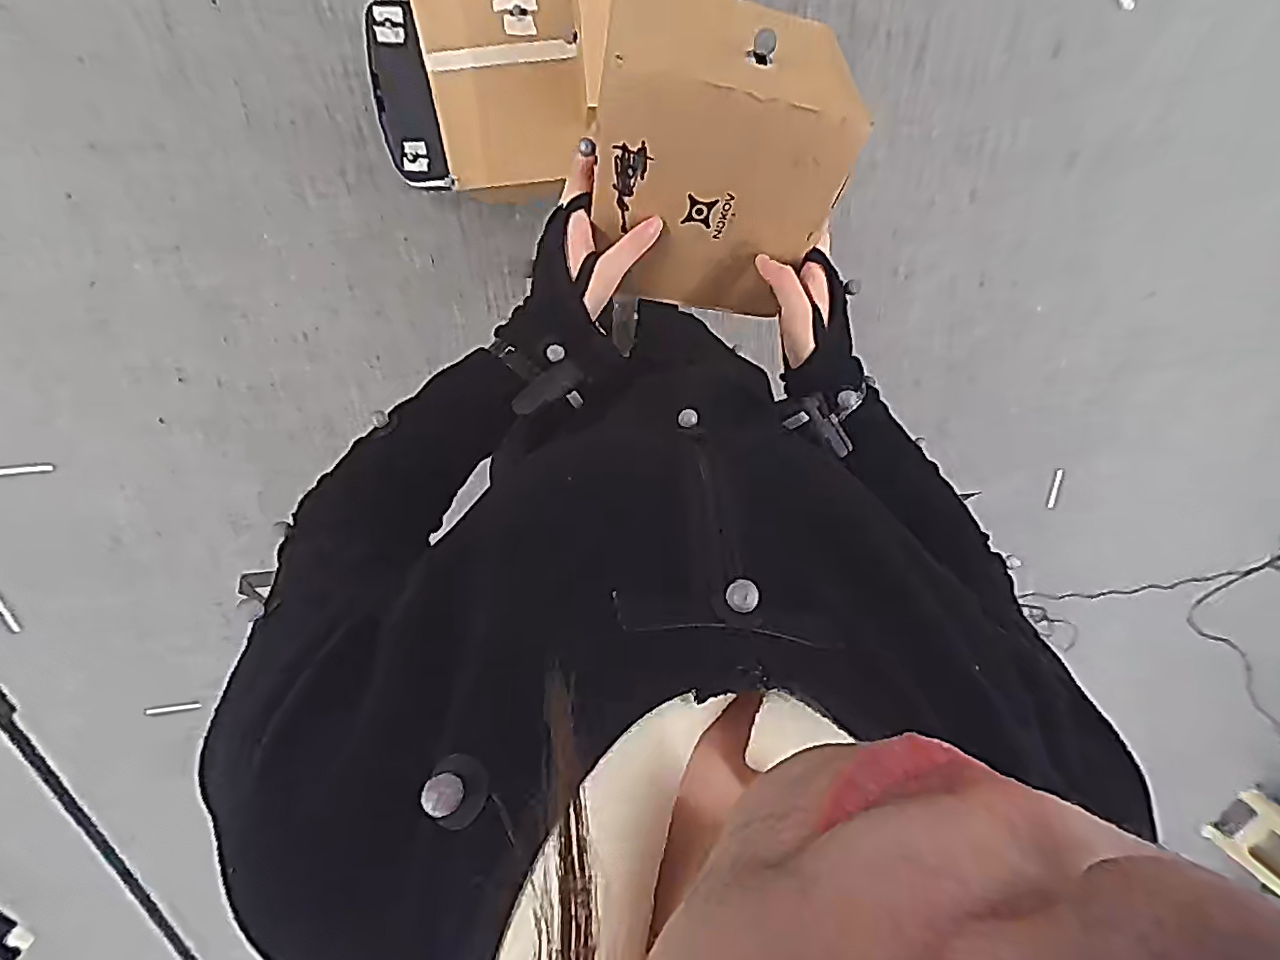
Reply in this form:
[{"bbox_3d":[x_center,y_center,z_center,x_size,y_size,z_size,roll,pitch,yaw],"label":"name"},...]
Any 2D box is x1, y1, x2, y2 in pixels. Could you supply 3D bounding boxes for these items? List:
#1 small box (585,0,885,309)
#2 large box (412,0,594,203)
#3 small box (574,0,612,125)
[{"bbox_3d":[0.055,-0.268,0.435,0.179,0.176,0.168,6,145,-11],"label":"small box"},{"bbox_3d":[-0.112,-0.656,0.887,0.408,0.320,0.320,-9,114,-4],"label":"large box"},{"bbox_3d":[0.012,-0.556,0.679,0.179,0.176,0.168,-5,115,-5],"label":"small box"}]
